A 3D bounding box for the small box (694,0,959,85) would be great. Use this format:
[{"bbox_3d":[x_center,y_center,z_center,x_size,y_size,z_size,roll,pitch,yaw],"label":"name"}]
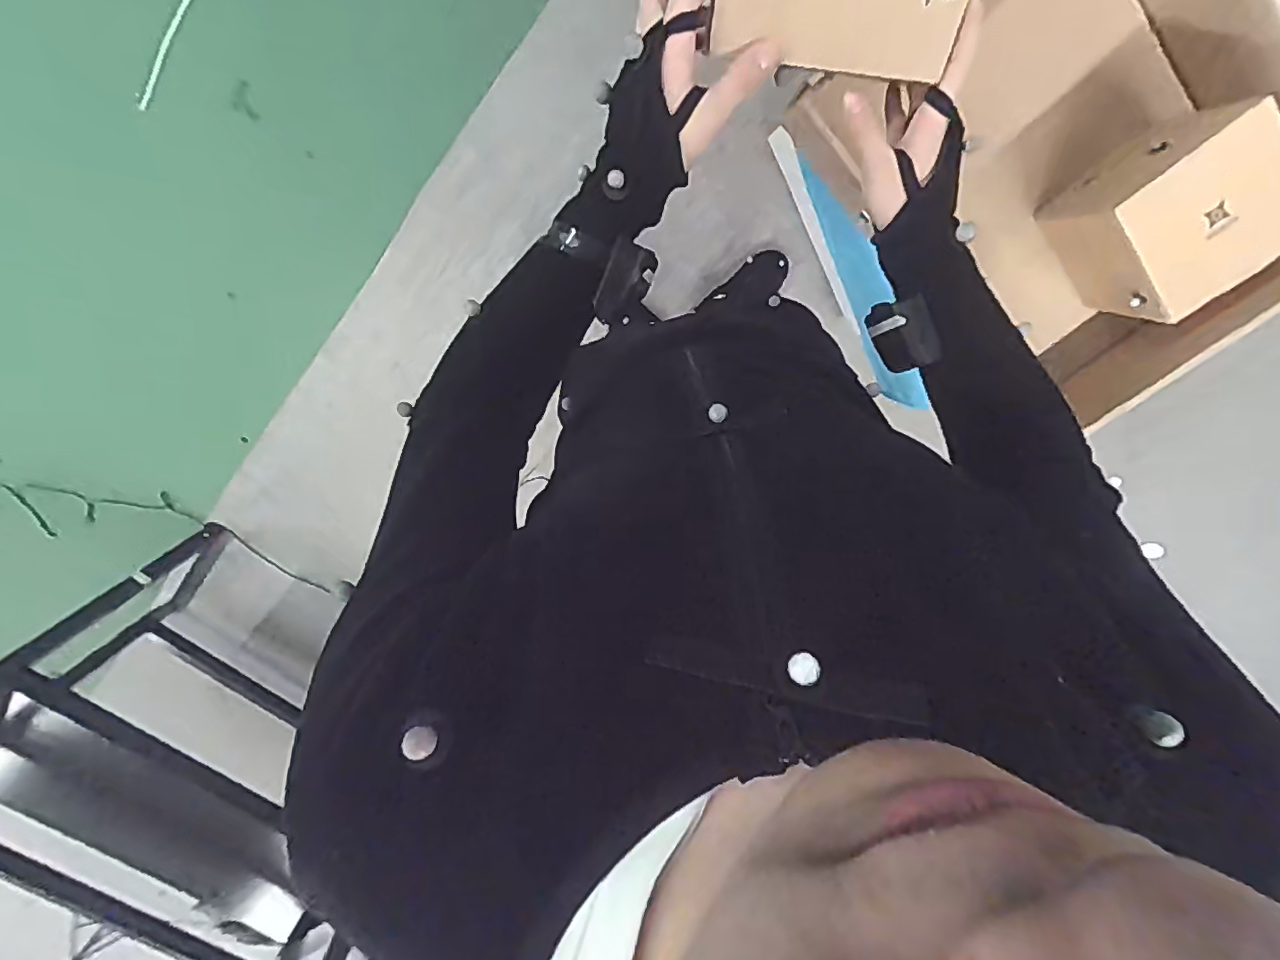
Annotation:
[{"bbox_3d":[0.138,-0.410,0.407,0.179,0.176,0.168,6,128,-1],"label":"small box"}]
